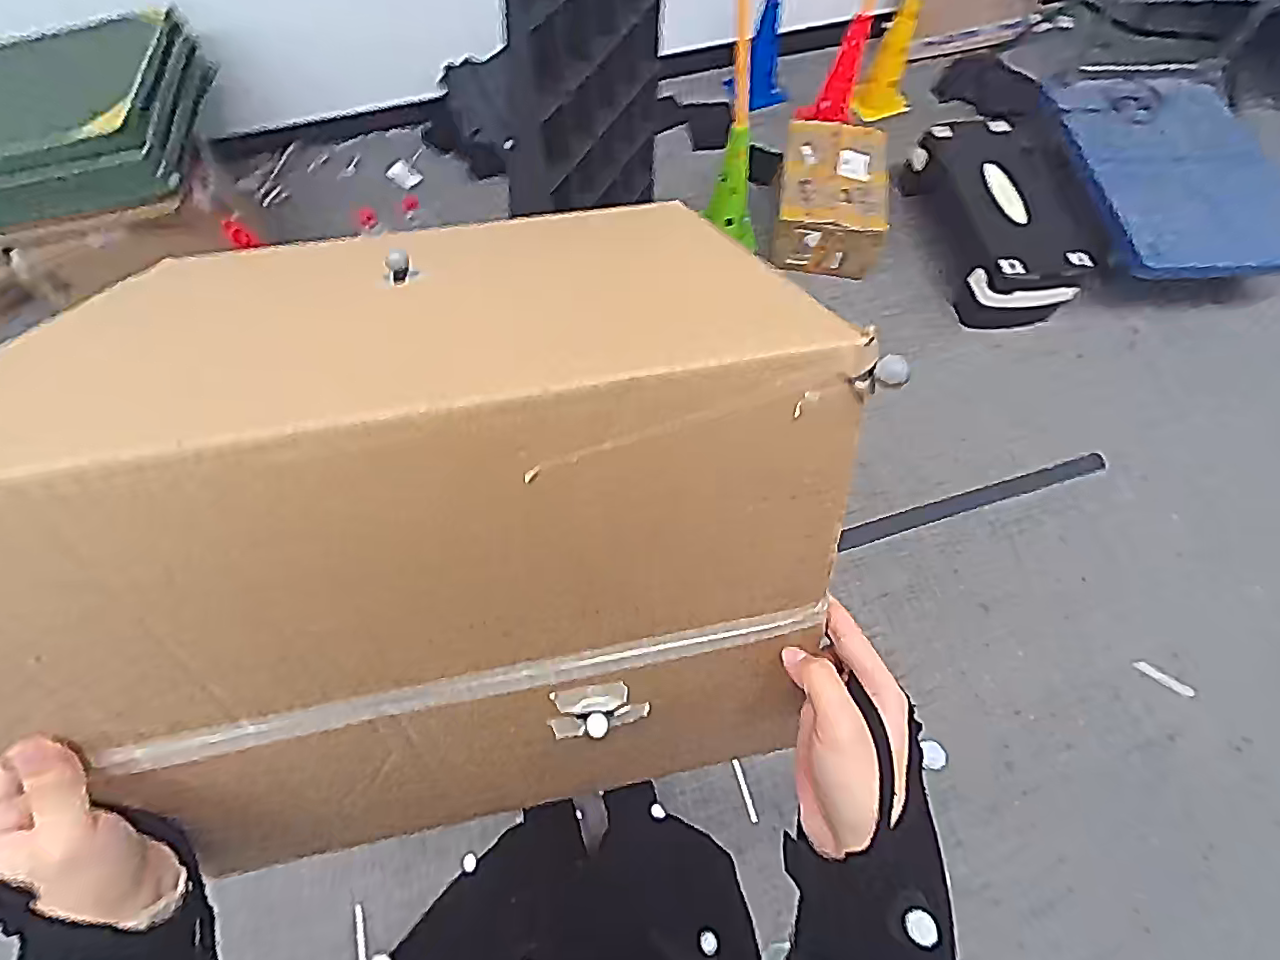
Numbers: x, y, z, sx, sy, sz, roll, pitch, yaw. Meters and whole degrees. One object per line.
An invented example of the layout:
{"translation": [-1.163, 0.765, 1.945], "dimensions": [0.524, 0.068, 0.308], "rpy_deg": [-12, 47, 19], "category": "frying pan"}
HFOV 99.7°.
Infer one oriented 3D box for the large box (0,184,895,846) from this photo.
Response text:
{"translation": [-0.109, -0.005, 0.397], "dimensions": [0.408, 0.320, 0.320], "rpy_deg": [-10, 38, -6], "category": "large box"}
